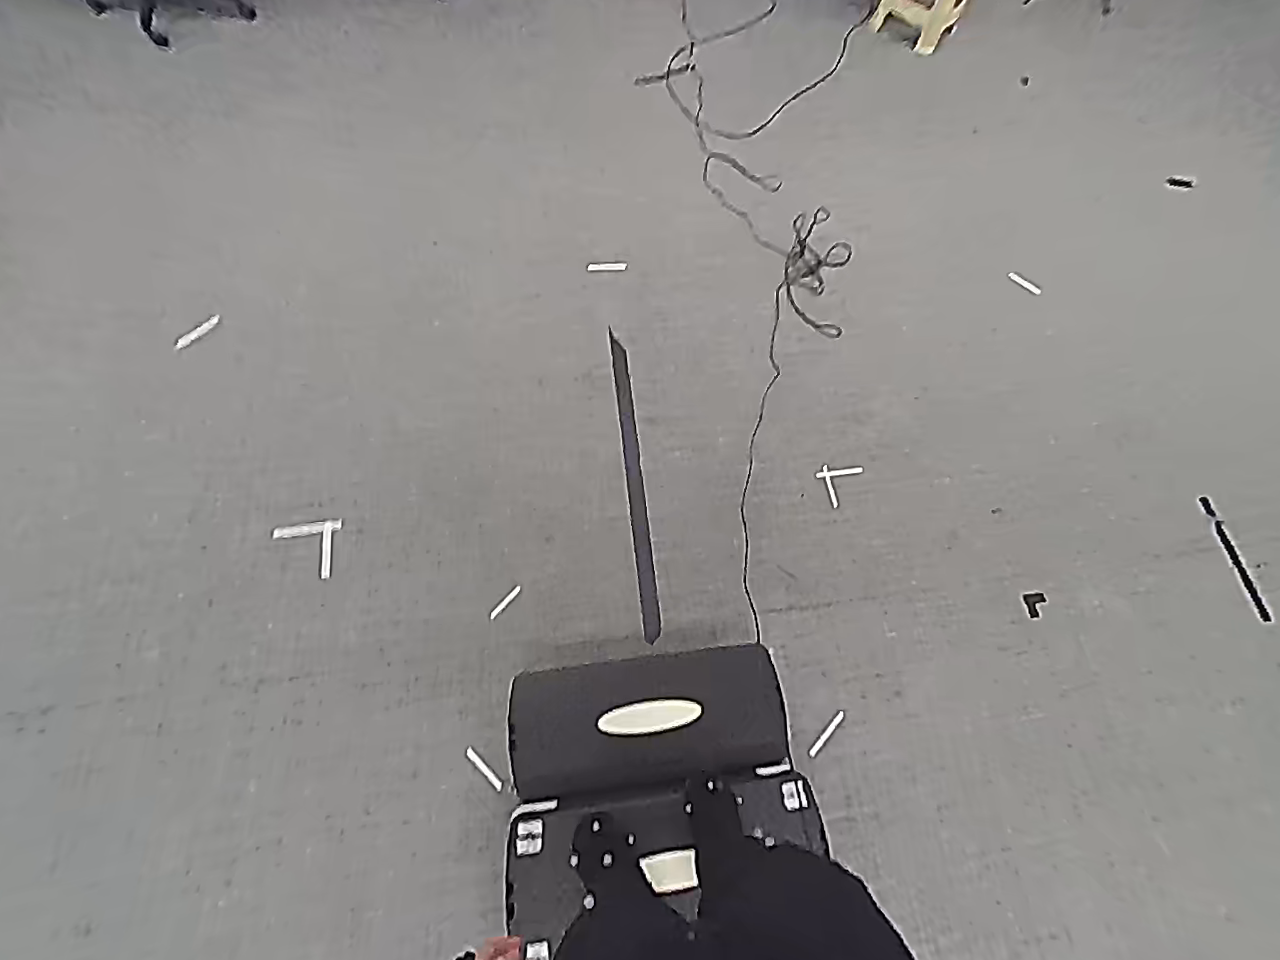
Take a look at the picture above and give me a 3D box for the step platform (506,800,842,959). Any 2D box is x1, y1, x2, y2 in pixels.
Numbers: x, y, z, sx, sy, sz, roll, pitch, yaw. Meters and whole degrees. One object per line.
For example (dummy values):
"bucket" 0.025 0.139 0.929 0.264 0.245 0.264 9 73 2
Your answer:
"step platform" 0.067 0.871 1.142 0.684 0.204 0.286 -2 65 -4
